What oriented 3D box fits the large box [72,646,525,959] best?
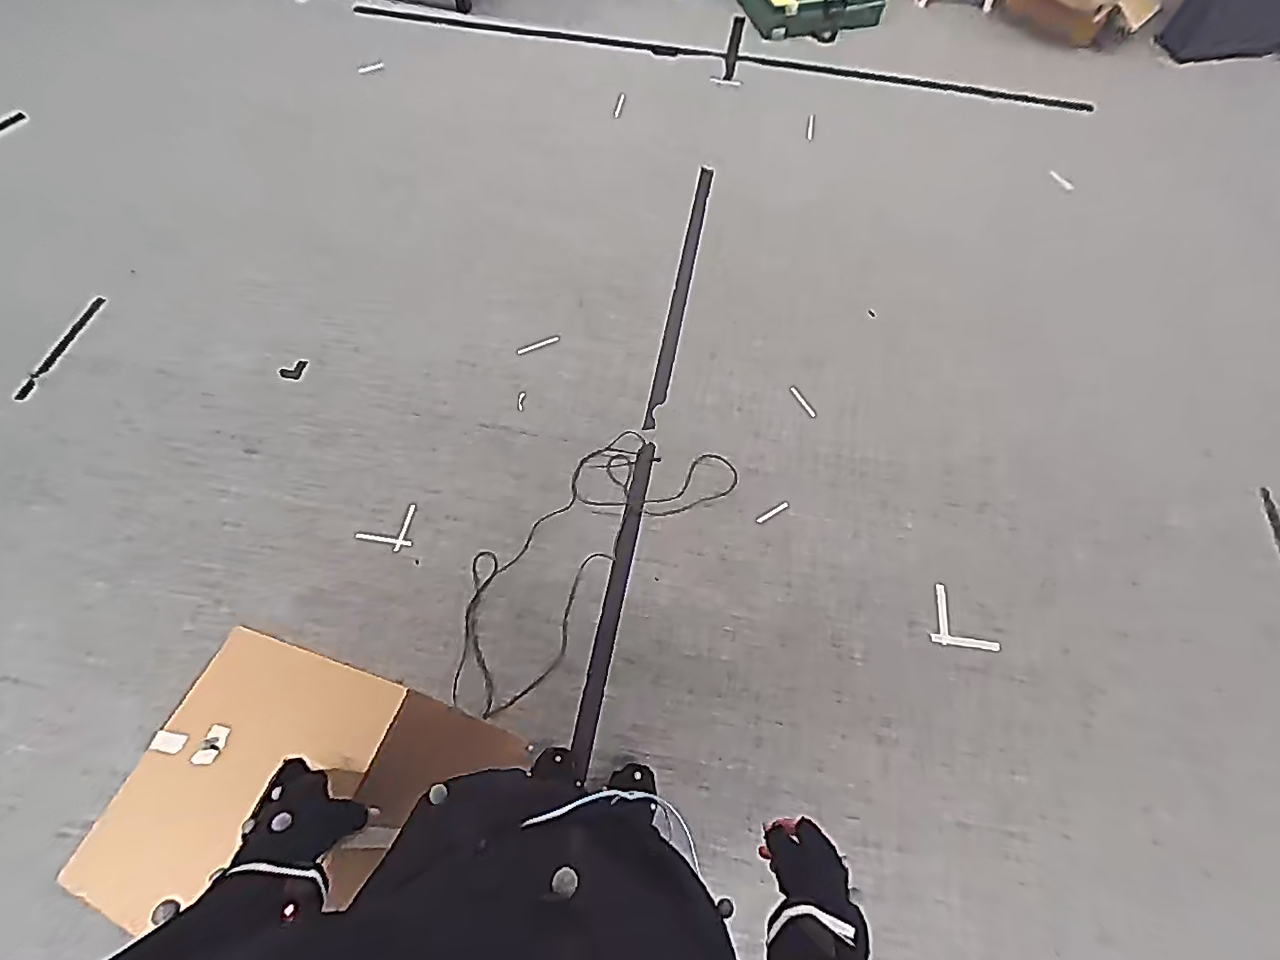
[{"bbox_3d":[-0.431,0.479,0.795,0.320,0.408,0.320,12,60,19],"label":"large box"}]
